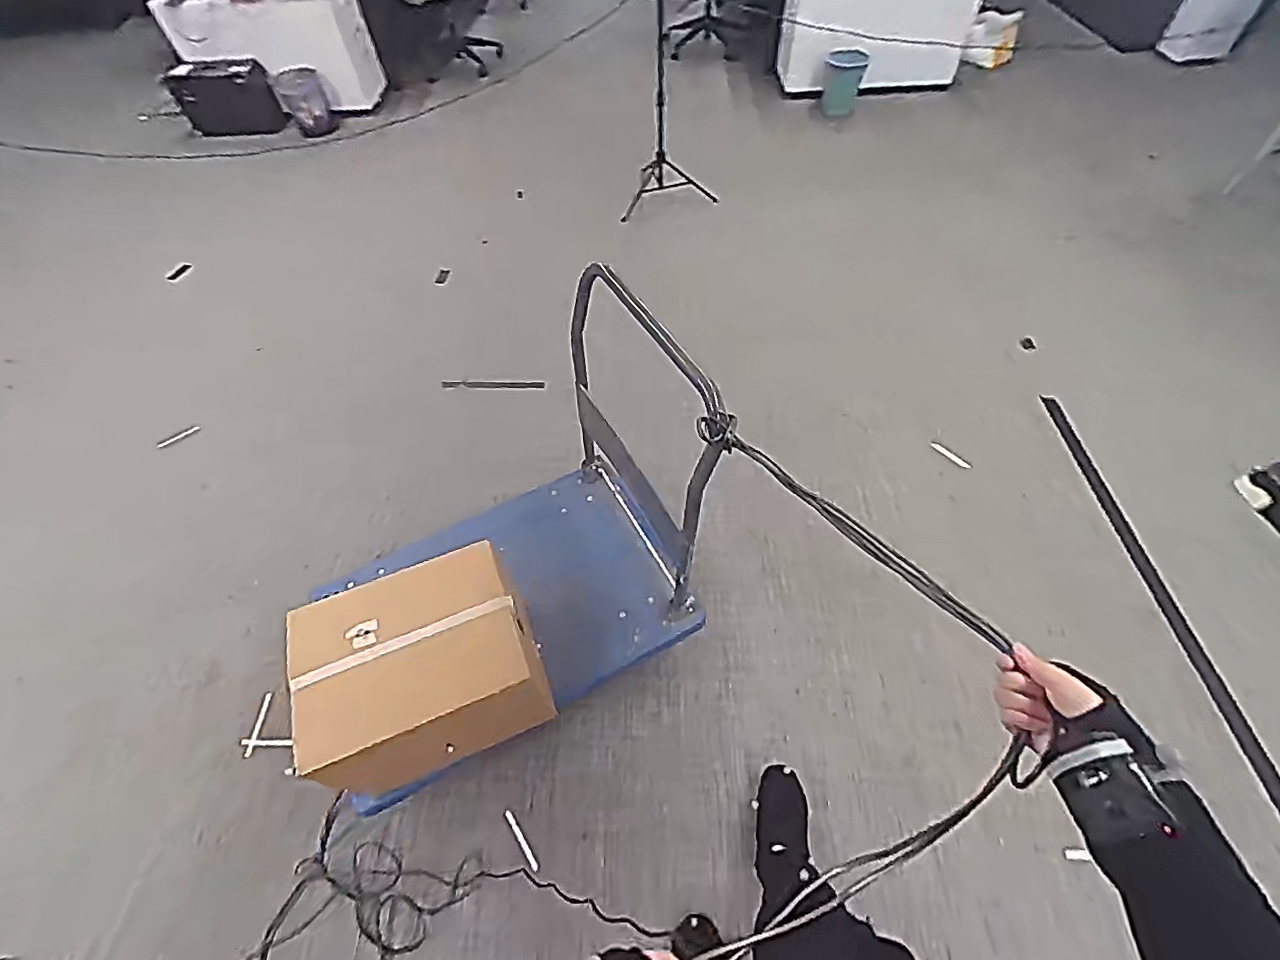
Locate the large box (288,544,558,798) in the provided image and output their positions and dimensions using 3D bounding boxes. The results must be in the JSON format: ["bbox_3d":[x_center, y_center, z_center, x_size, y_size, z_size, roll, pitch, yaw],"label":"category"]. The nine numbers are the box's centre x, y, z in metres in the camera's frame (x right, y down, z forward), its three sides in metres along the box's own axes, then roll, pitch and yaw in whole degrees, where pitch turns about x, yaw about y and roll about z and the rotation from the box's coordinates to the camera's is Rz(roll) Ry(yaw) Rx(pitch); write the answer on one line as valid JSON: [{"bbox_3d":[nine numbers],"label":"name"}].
[{"bbox_3d":[-0.427,0.398,1.118,0.408,0.320,0.320,-21,56,-11],"label":"large box"}]
